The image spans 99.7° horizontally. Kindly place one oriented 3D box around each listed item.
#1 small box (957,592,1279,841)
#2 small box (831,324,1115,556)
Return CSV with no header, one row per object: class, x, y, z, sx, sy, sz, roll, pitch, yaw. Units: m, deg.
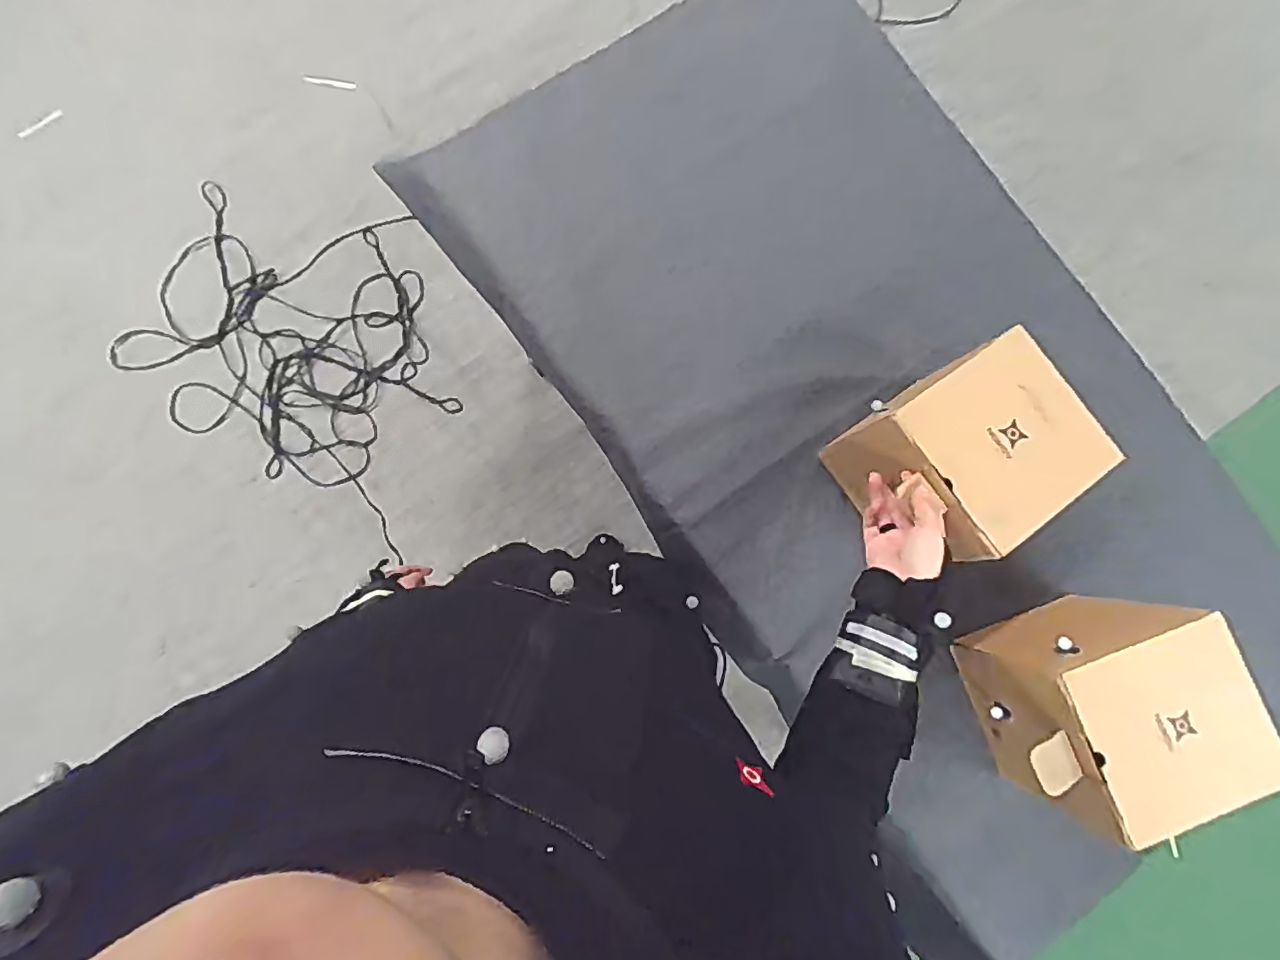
small box,0.492,0.229,0.579,0.179,0.176,0.168,-20,85,-4
small box,0.338,-0.029,0.592,0.179,0.176,0.168,-36,86,-12
